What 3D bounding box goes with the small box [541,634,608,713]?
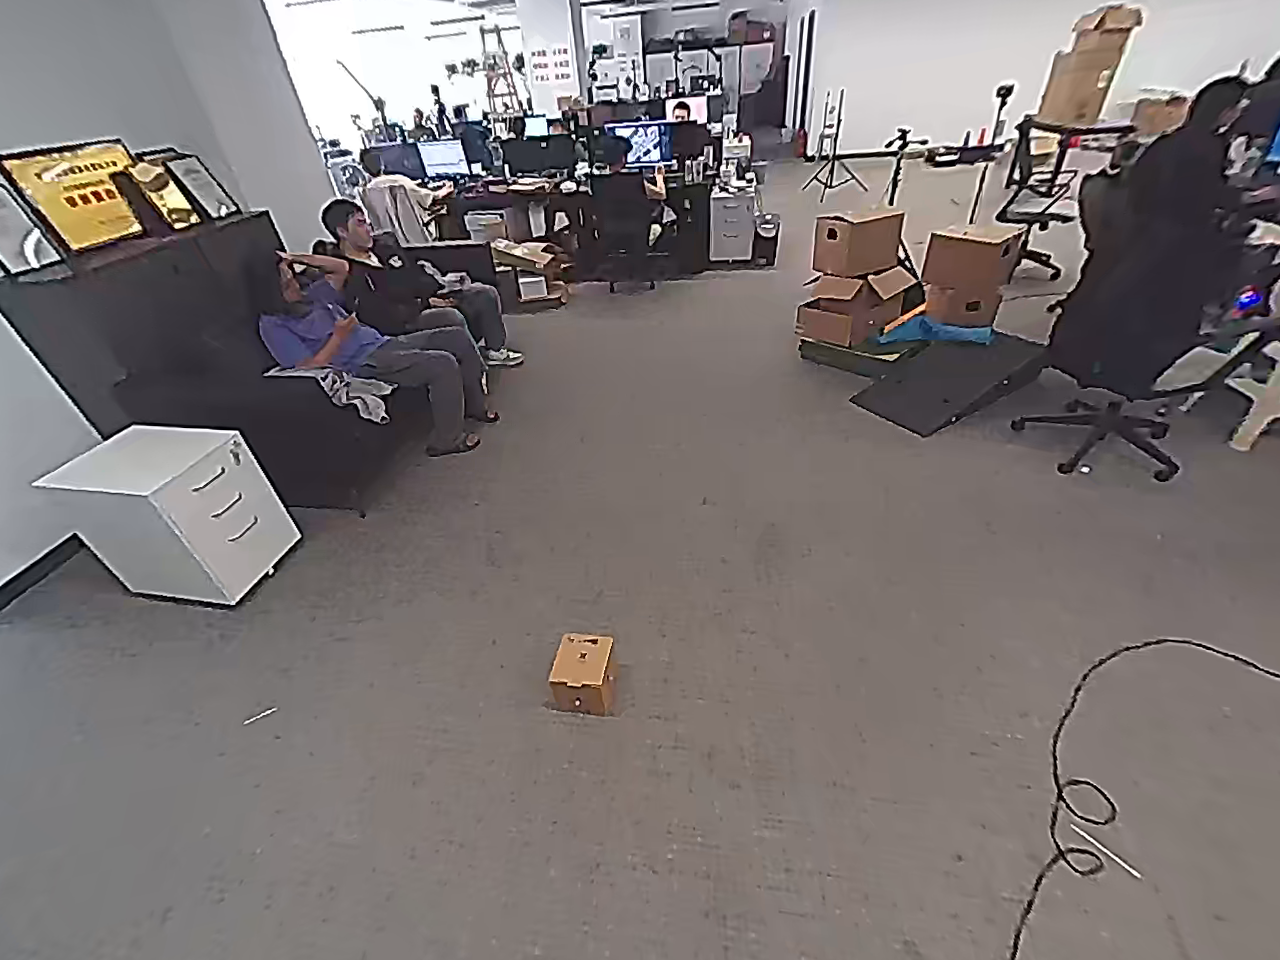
[{"bbox_3d":[-0.200,0.616,1.719,0.168,0.176,0.179,1,37,9],"label":"small box"}]
